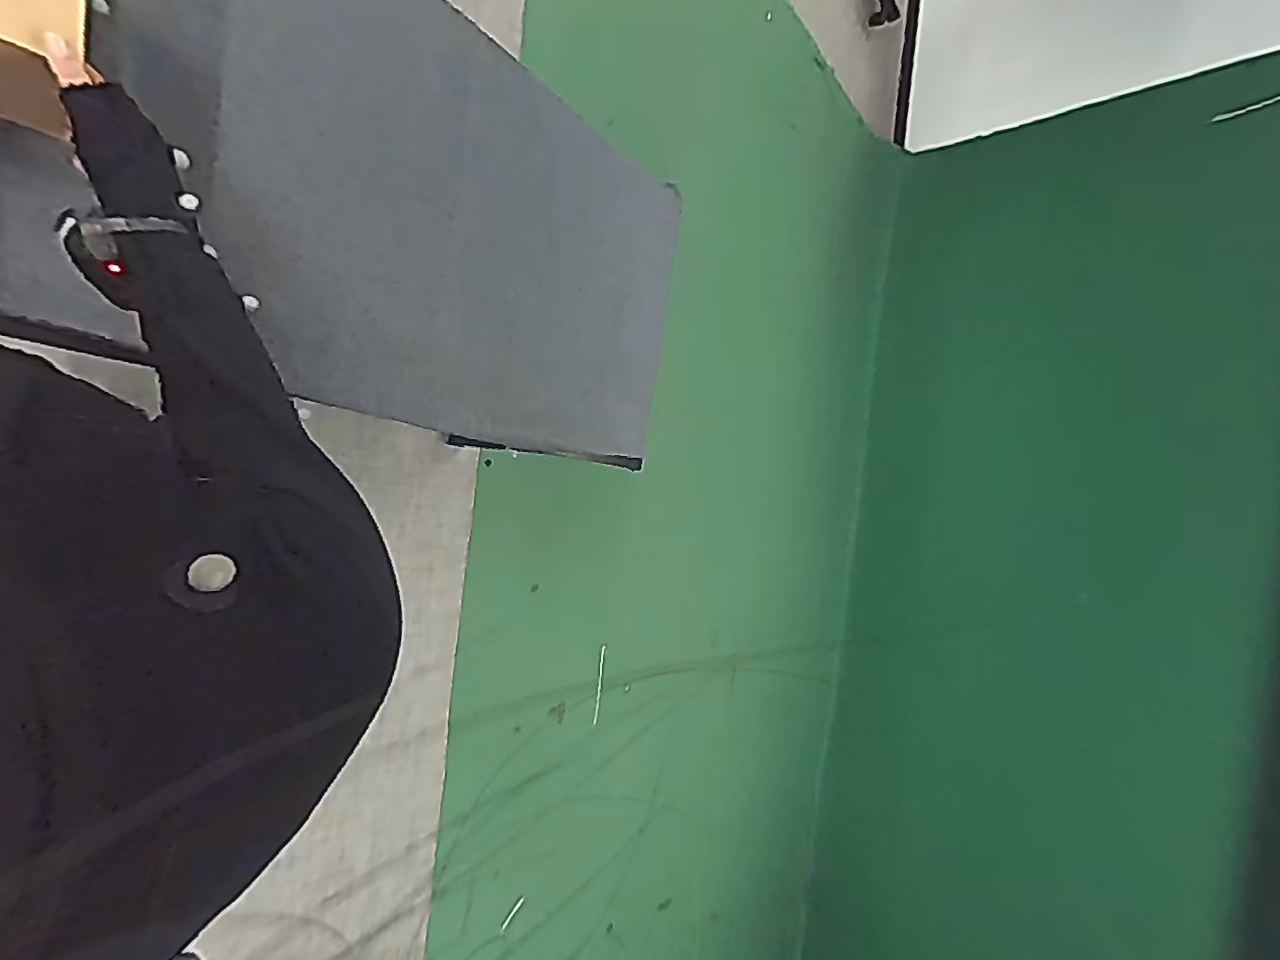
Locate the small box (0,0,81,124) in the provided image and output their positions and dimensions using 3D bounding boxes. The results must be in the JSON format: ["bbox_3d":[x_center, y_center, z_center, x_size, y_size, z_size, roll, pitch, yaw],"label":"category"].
[{"bbox_3d":[-0.533,-0.409,0.400,0.168,0.176,0.179,2,93,-50],"label":"small box"}]
